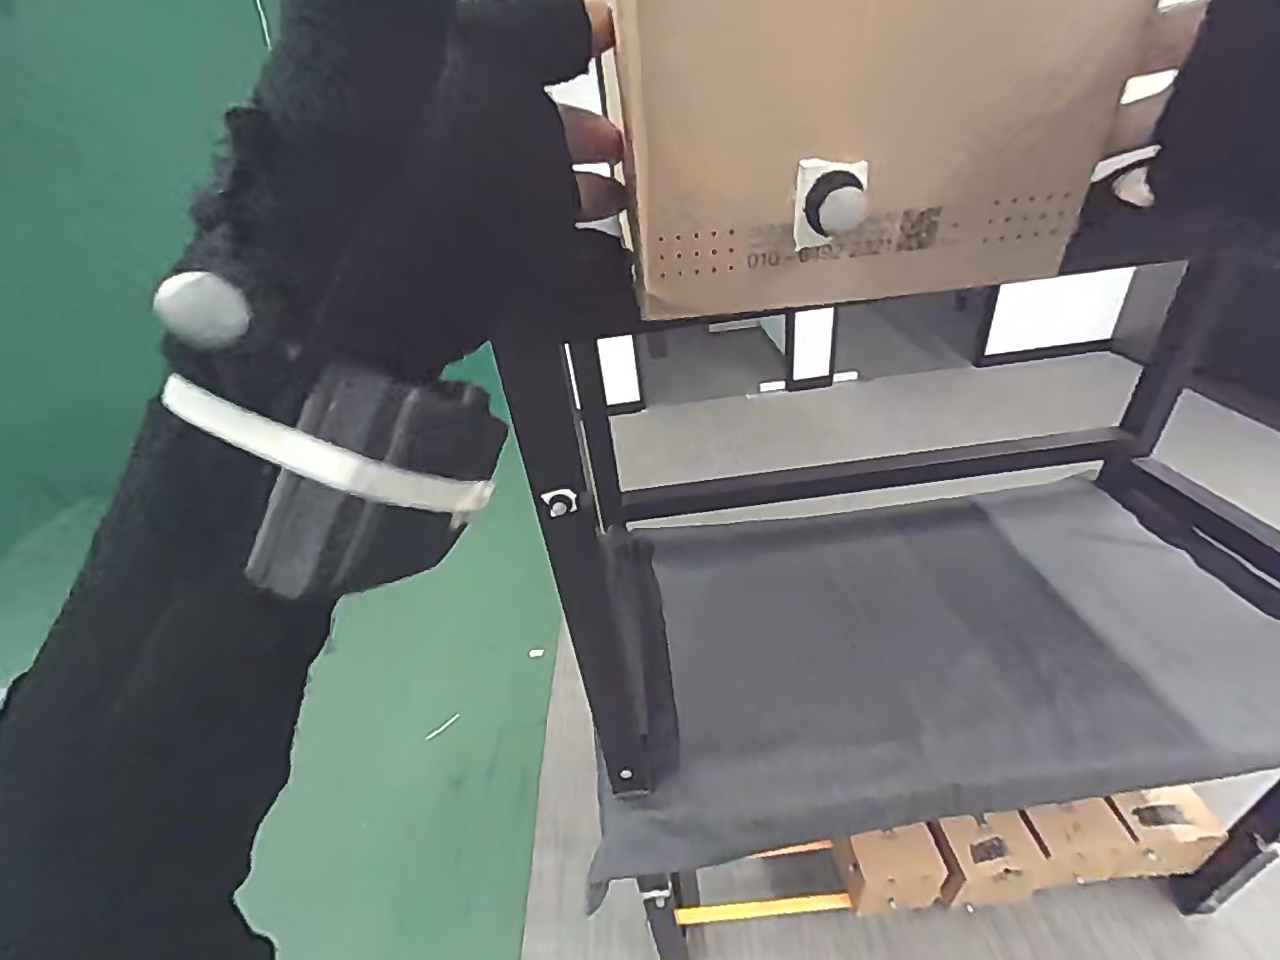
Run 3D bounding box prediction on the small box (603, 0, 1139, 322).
[{"bbox_3d":[0.069,-0.185,0.235,0.168,0.176,0.179,-7,40,0],"label":"small box"}]
